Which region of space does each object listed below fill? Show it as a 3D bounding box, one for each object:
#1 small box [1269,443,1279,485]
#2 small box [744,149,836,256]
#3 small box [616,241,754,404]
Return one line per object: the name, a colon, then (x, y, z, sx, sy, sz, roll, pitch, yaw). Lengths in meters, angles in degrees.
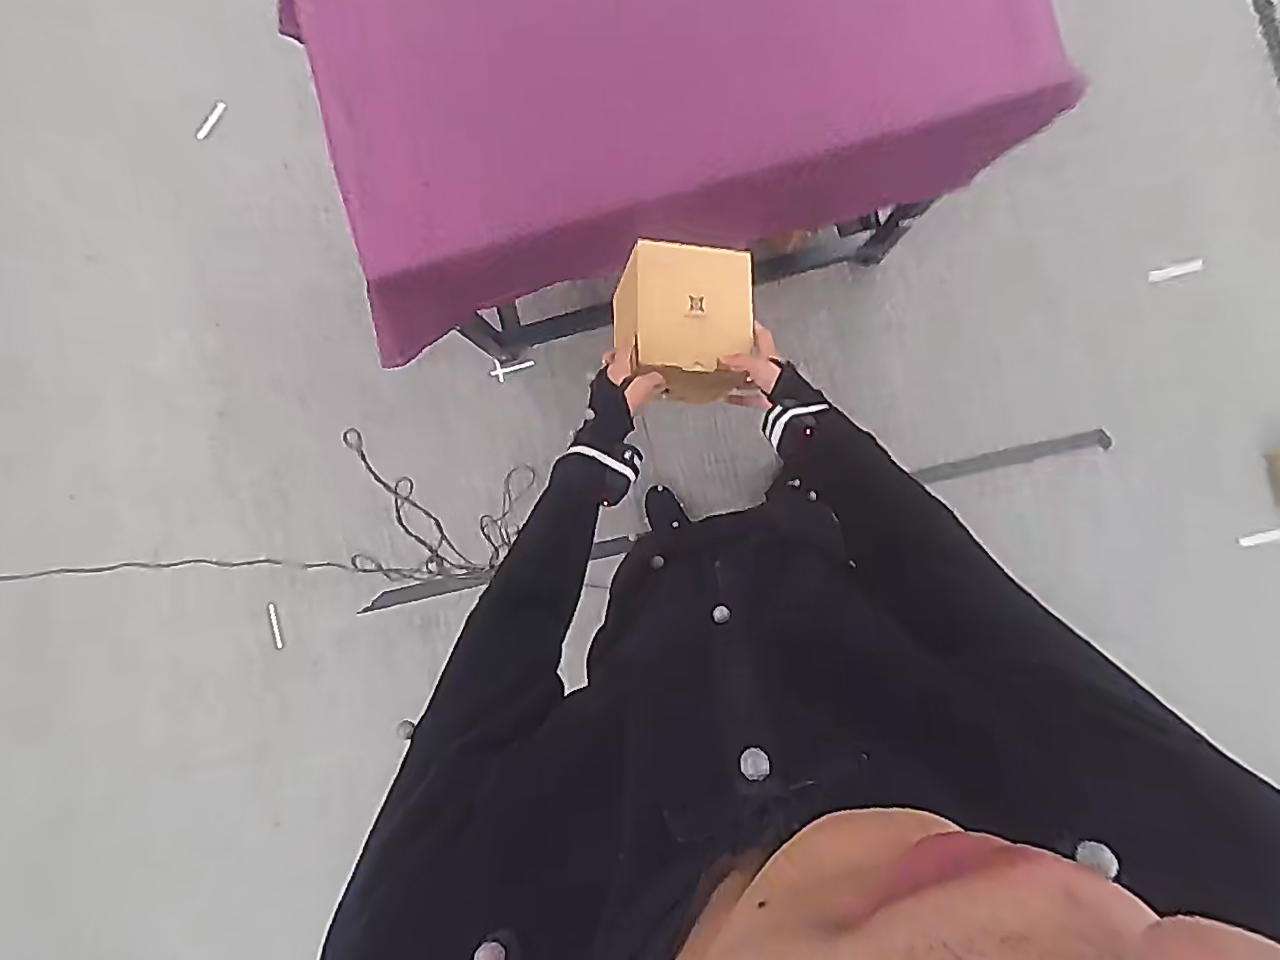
small box: (1.876, -0.033, 1.447, 0.168, 0.176, 0.179, -16, 88, 3)
small box: (0.417, -0.779, 1.537, 0.168, 0.176, 0.179, -43, 87, 2)
small box: (0.059, -0.223, 0.807, 0.168, 0.176, 0.179, 1, 84, -13)
